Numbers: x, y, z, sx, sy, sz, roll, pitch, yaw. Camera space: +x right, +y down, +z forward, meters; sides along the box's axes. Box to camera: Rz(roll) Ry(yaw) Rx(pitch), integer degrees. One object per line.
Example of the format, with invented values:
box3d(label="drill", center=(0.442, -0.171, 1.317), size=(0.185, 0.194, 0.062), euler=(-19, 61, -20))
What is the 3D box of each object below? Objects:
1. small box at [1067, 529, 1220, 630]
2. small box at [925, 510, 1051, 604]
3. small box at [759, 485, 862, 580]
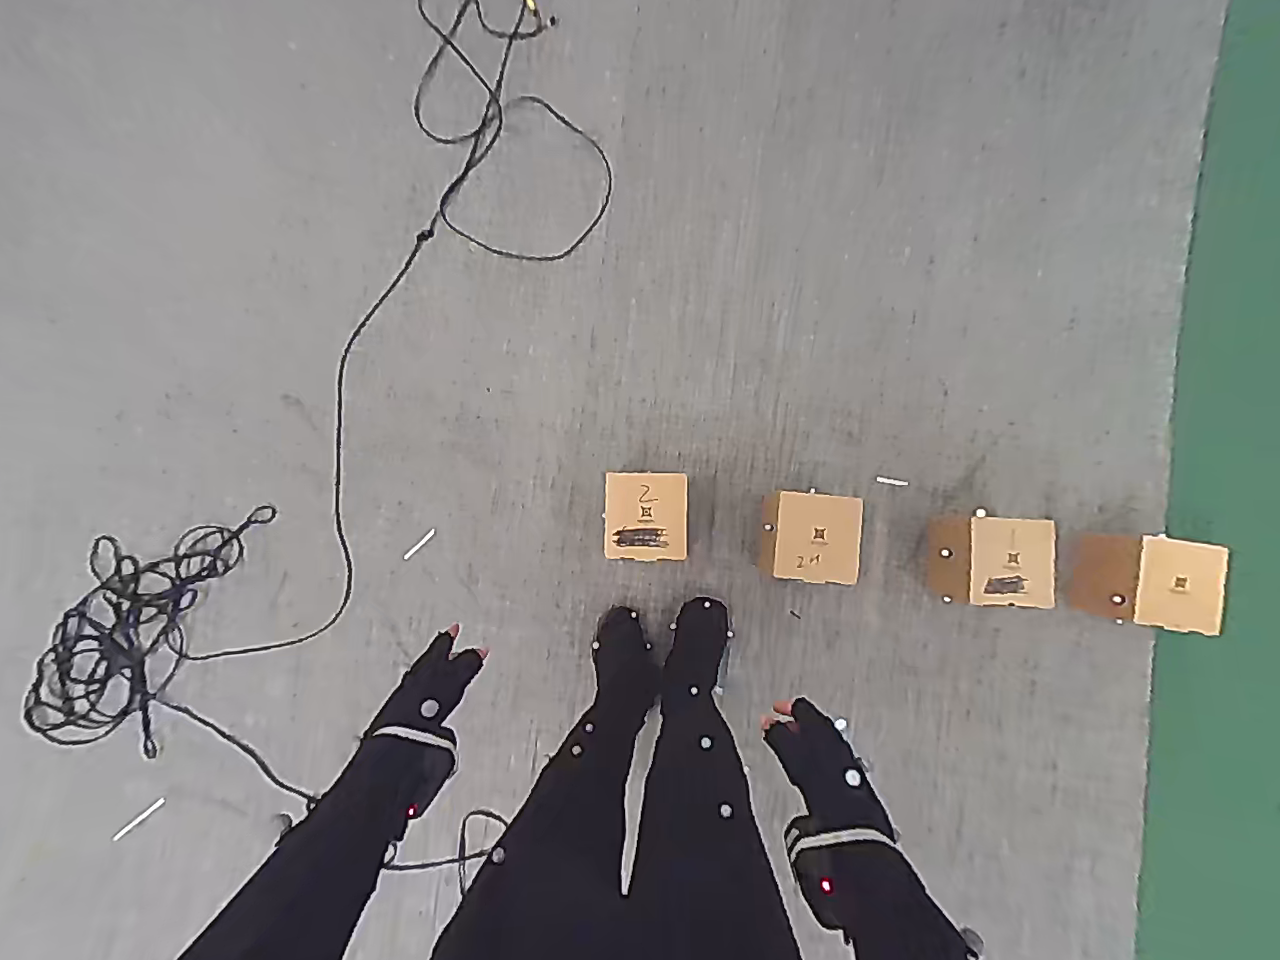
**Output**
box3d(label="small box", center=(1.048, 0.200, 1.141), size=(0.168, 0.176, 0.179), euler=(9, 88, 2))
box3d(label="small box", center=(0.728, 0.157, 1.147), size=(0.168, 0.176, 0.179), euler=(3, 87, 1))
box3d(label="small box", center=(0.356, 0.109, 1.155), size=(0.168, 0.176, 0.179), euler=(6, 88, 3))
